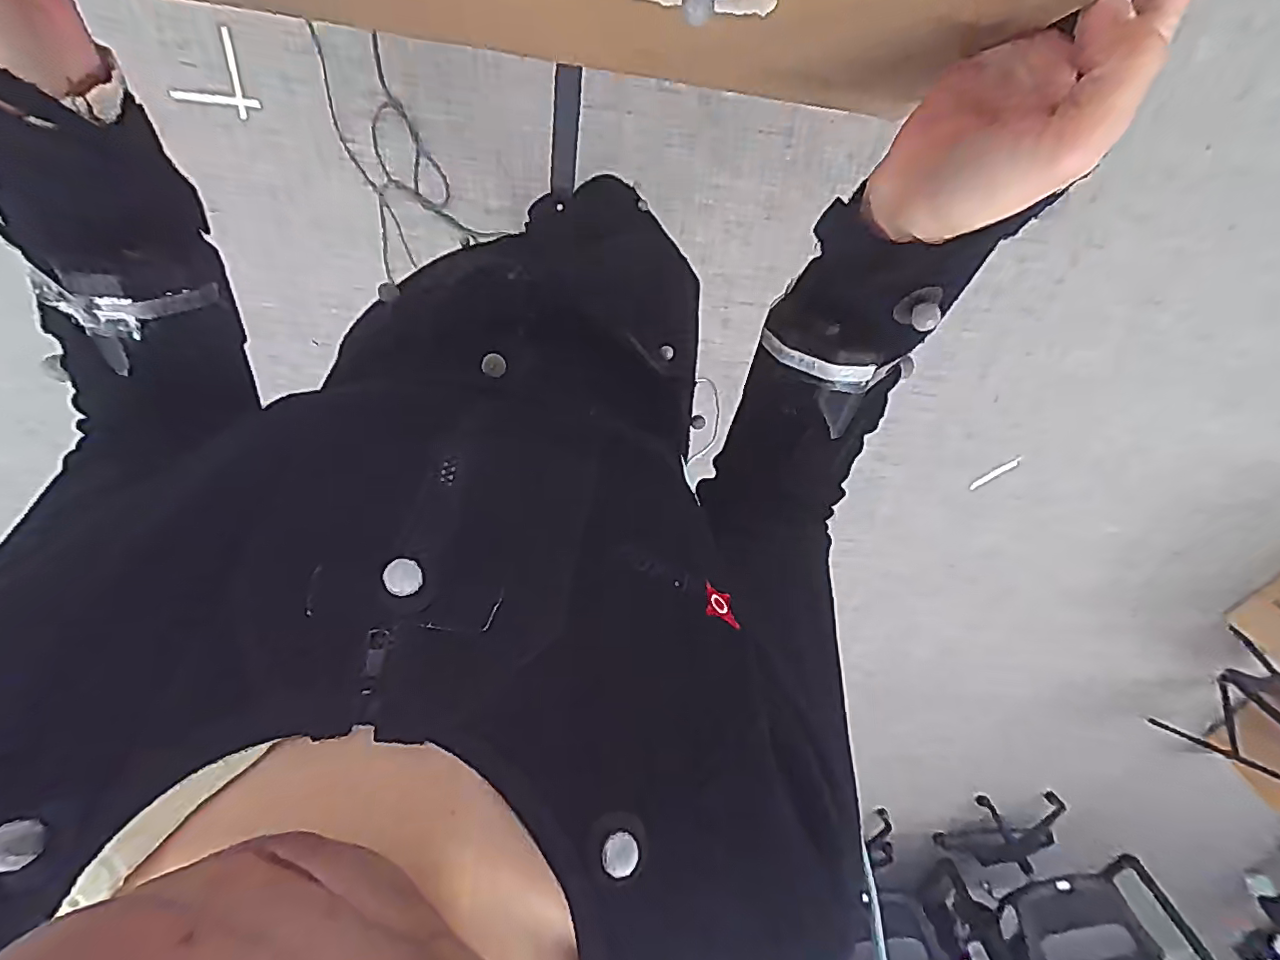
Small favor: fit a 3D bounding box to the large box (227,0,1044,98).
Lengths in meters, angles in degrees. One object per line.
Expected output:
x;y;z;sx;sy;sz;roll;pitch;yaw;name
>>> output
-0.025;-0.335;0.109;0.408;0.320;0.320;5;108;-5;large box
